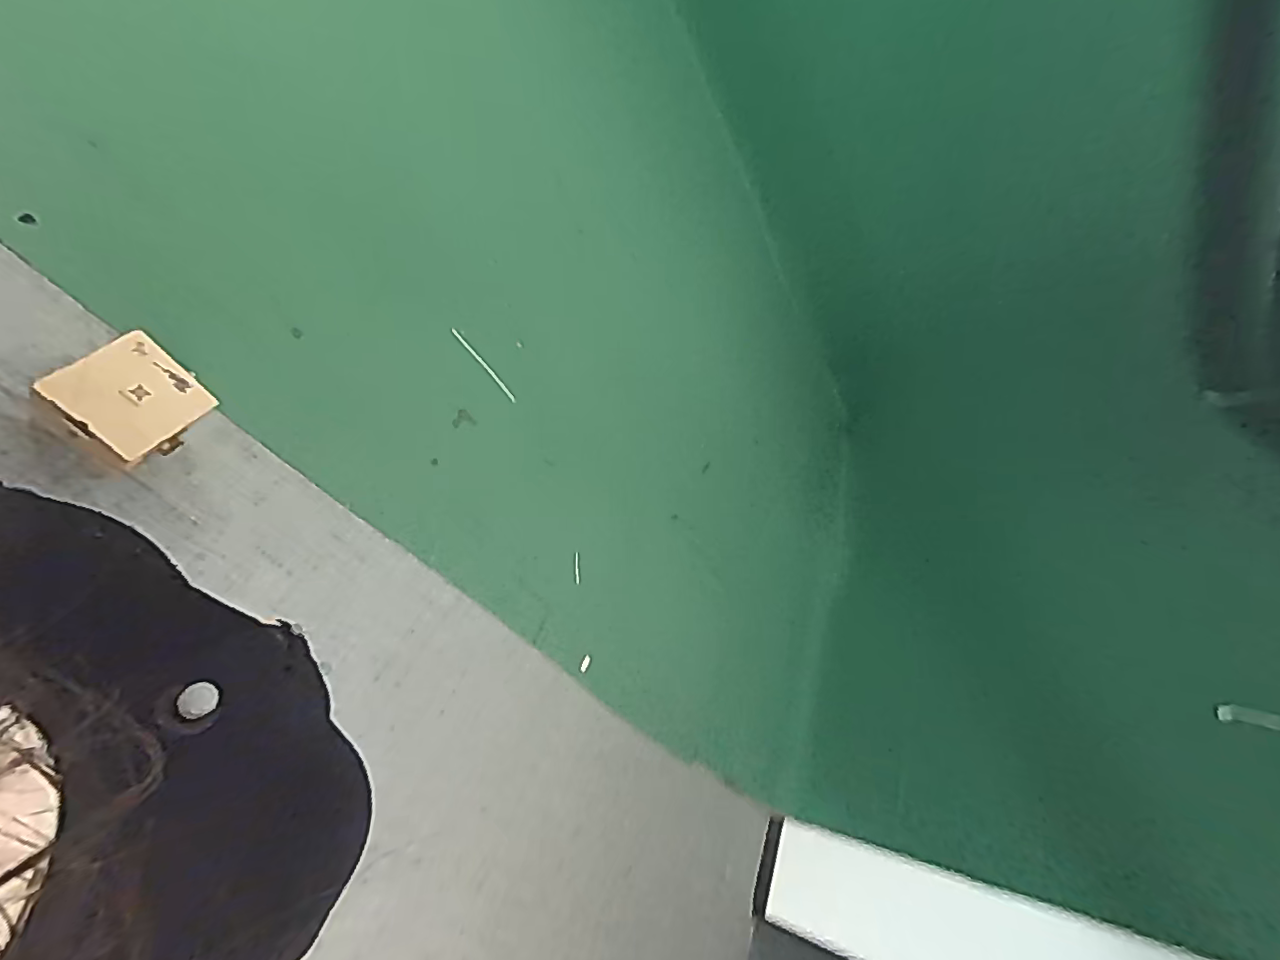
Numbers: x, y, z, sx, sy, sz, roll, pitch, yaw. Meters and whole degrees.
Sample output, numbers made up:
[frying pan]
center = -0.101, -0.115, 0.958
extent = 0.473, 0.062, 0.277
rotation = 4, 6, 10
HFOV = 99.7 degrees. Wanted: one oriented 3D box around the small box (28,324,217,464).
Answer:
[small box]
center = -0.913, -0.144, 0.962
extent = 0.168, 0.176, 0.179
rotation = 56, 48, -28
